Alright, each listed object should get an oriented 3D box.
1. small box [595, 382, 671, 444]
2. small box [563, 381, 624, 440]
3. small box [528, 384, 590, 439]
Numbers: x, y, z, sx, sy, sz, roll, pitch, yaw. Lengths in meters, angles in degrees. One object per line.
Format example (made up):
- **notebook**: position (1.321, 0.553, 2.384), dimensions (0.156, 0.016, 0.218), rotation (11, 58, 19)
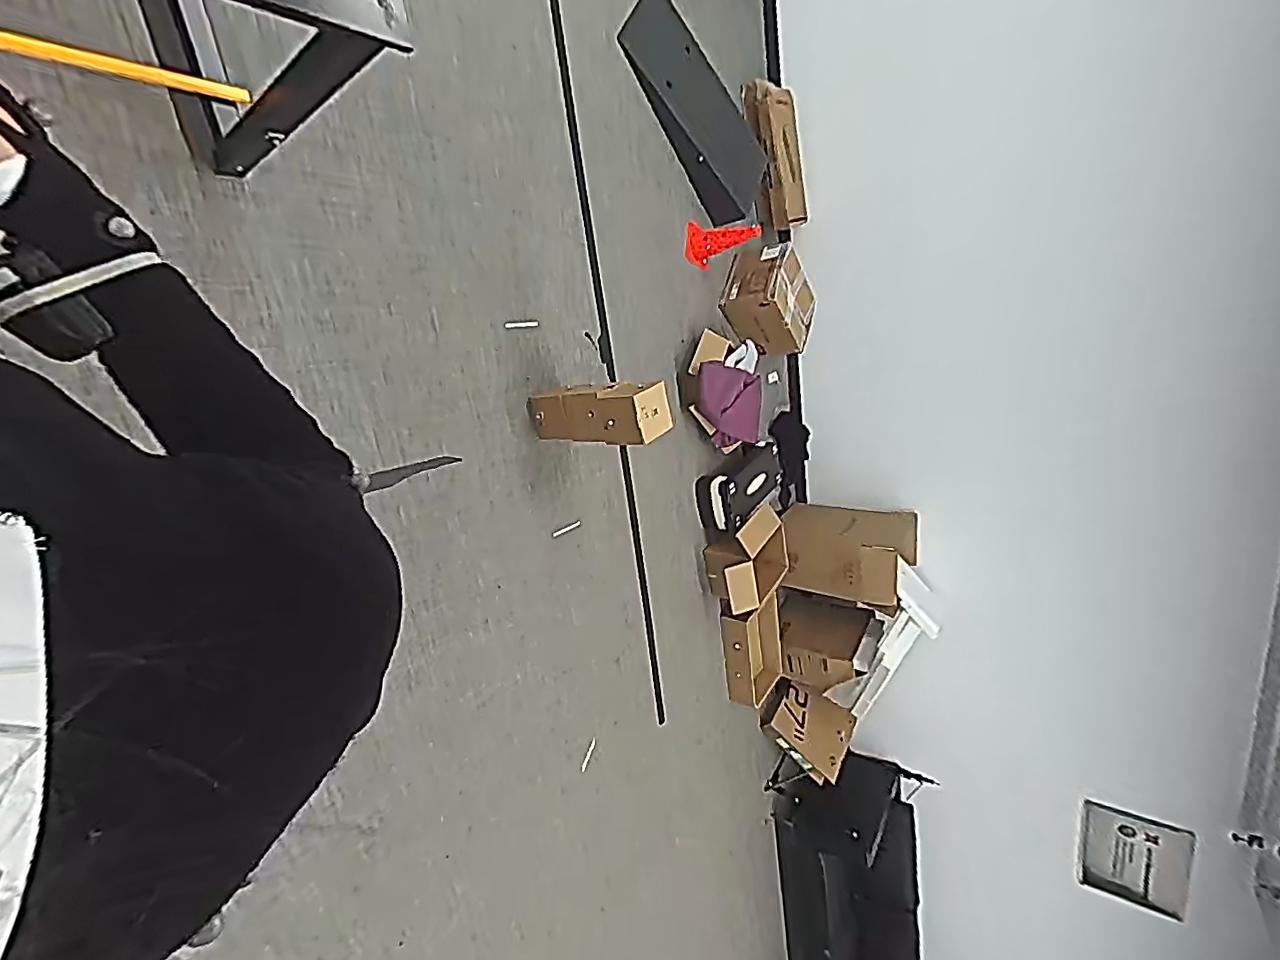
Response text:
- **small box**: position (-0.024, -0.227, 1.815), dimensions (0.179, 0.176, 0.168), rotation (-35, 119, -45)
- **small box**: position (-0.153, -0.244, 1.917), dimensions (0.168, 0.176, 0.179), rotation (-31, 117, -47)
- **small box**: position (-0.285, -0.257, 2.014), dimensions (0.179, 0.176, 0.168), rotation (-33, 117, -45)
